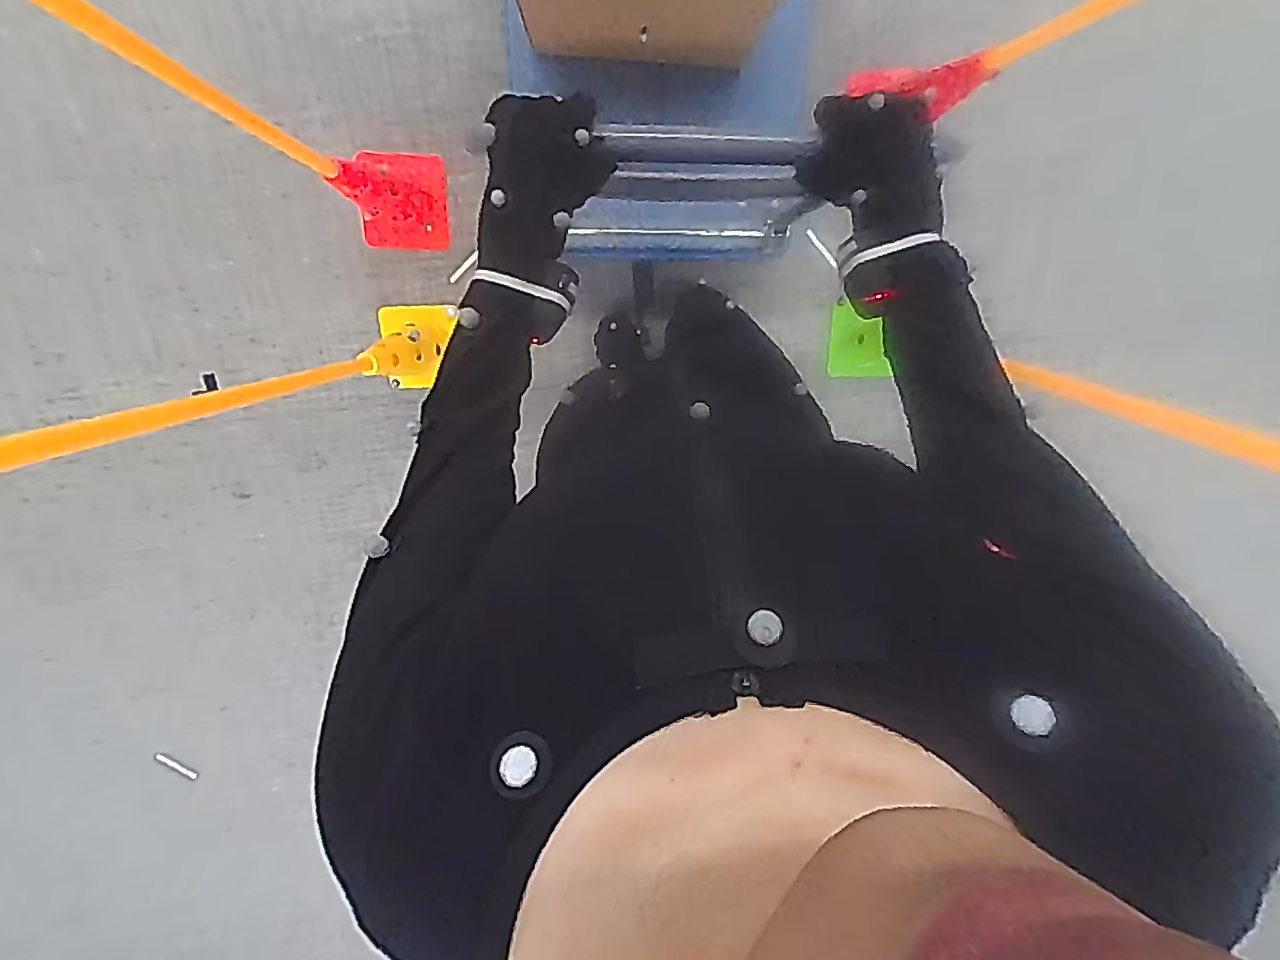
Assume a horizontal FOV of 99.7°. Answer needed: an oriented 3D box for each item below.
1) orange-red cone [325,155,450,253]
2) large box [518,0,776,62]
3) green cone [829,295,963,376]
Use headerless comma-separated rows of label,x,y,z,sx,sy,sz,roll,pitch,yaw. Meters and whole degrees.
orange-red cone,-0.535,-0.587,1.093,0.198,0.360,0.199,1,107,-4
large box,0.010,-0.905,0.857,0.408,0.320,0.320,1,109,-3
green cone,0.604,-0.318,1.237,0.202,0.368,0.200,-2,109,-3
